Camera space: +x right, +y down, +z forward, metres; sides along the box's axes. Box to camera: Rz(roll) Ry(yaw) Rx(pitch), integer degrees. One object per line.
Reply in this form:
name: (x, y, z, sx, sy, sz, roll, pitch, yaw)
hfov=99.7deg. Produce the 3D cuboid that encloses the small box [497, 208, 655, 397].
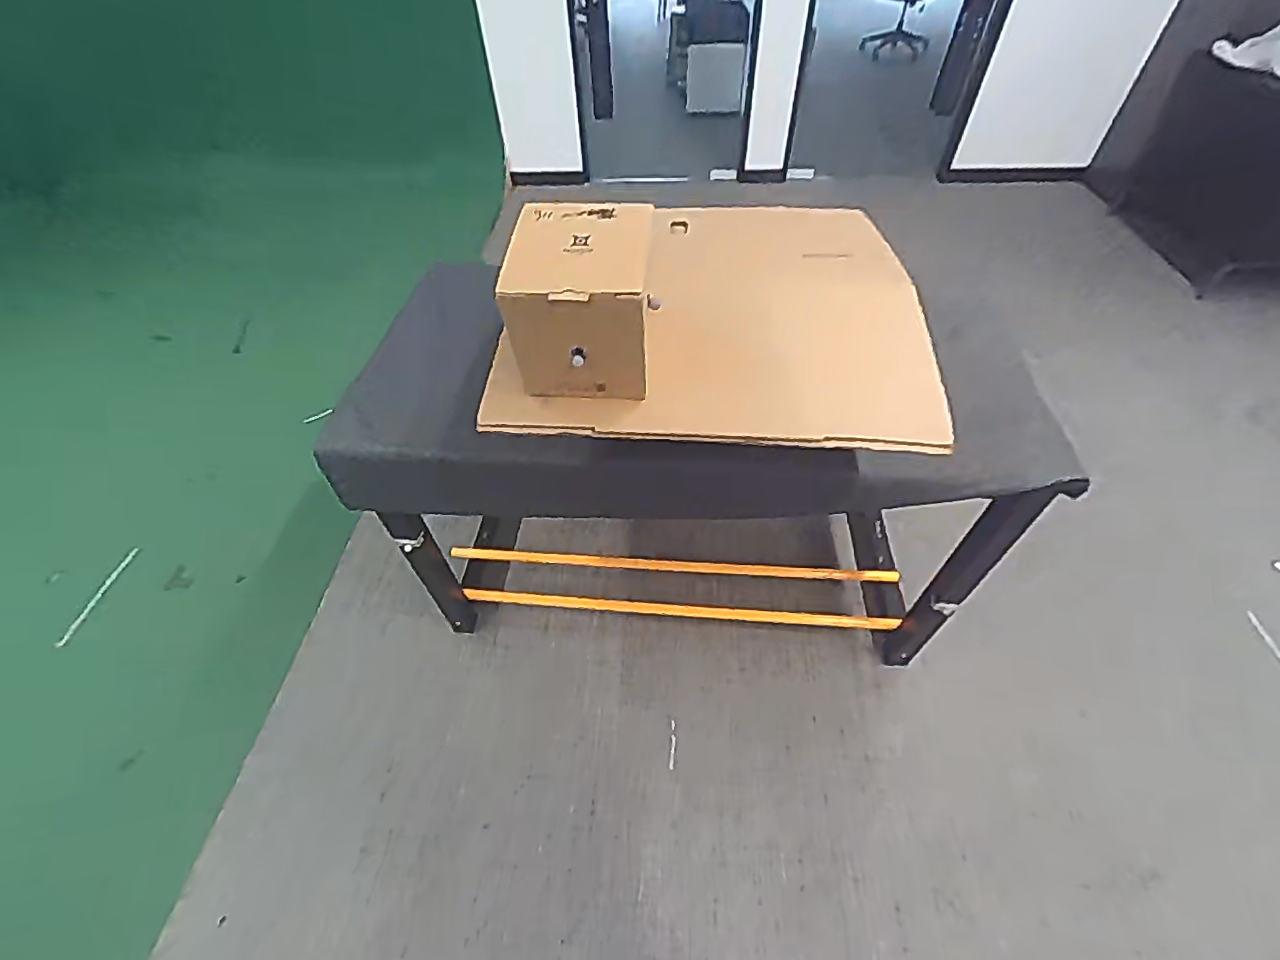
small box: (-0.068, -0.225, 0.703, 0.168, 0.176, 0.179, 3, 58, 4)
